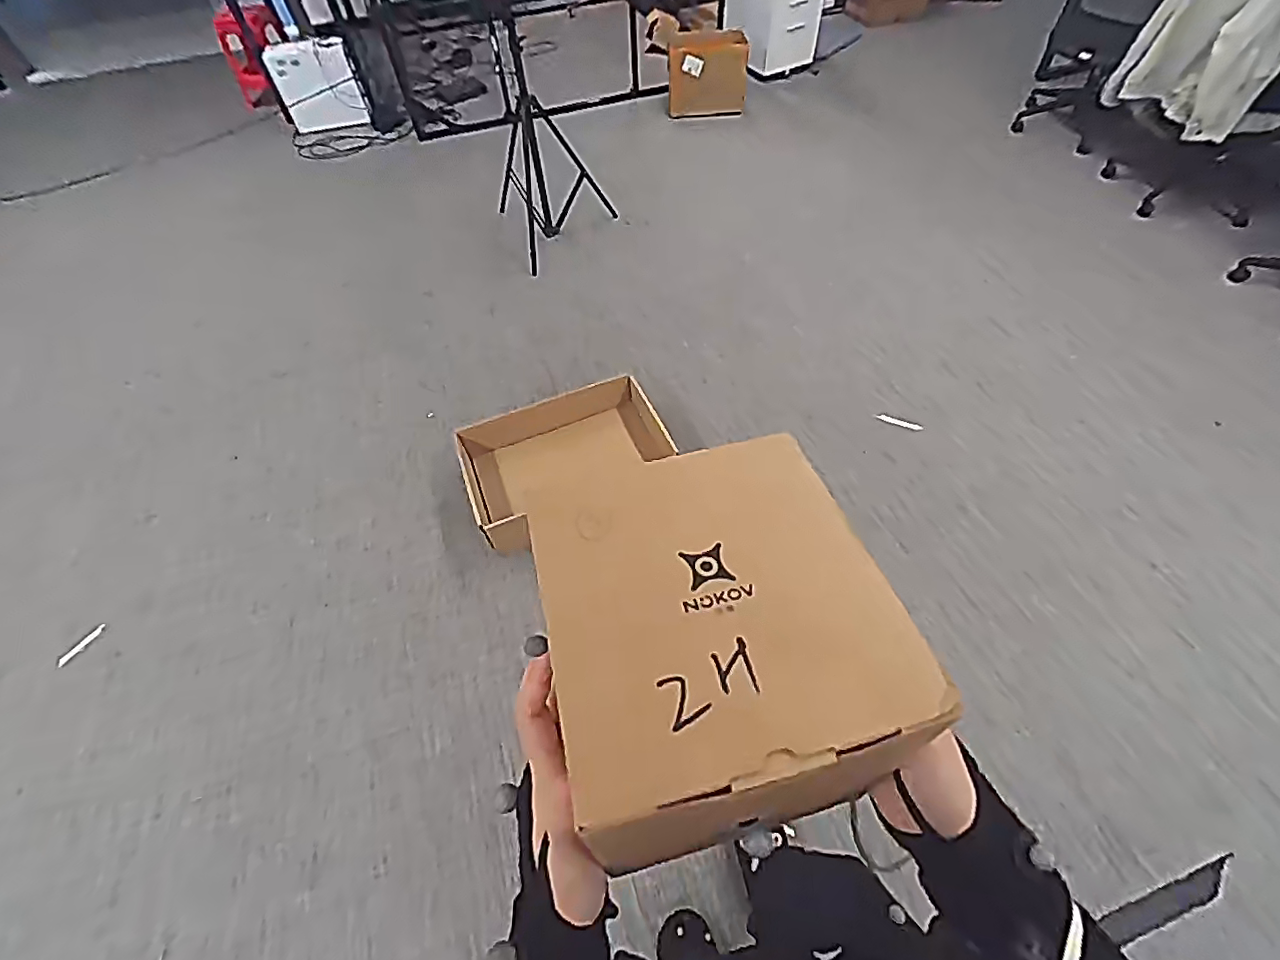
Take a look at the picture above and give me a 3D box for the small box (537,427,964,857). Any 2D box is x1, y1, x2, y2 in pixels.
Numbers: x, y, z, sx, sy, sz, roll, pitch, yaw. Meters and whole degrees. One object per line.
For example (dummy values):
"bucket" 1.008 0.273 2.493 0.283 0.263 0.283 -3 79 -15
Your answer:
"small box" 0.040 0.098 0.330 0.168 0.176 0.179 -13 50 -8
